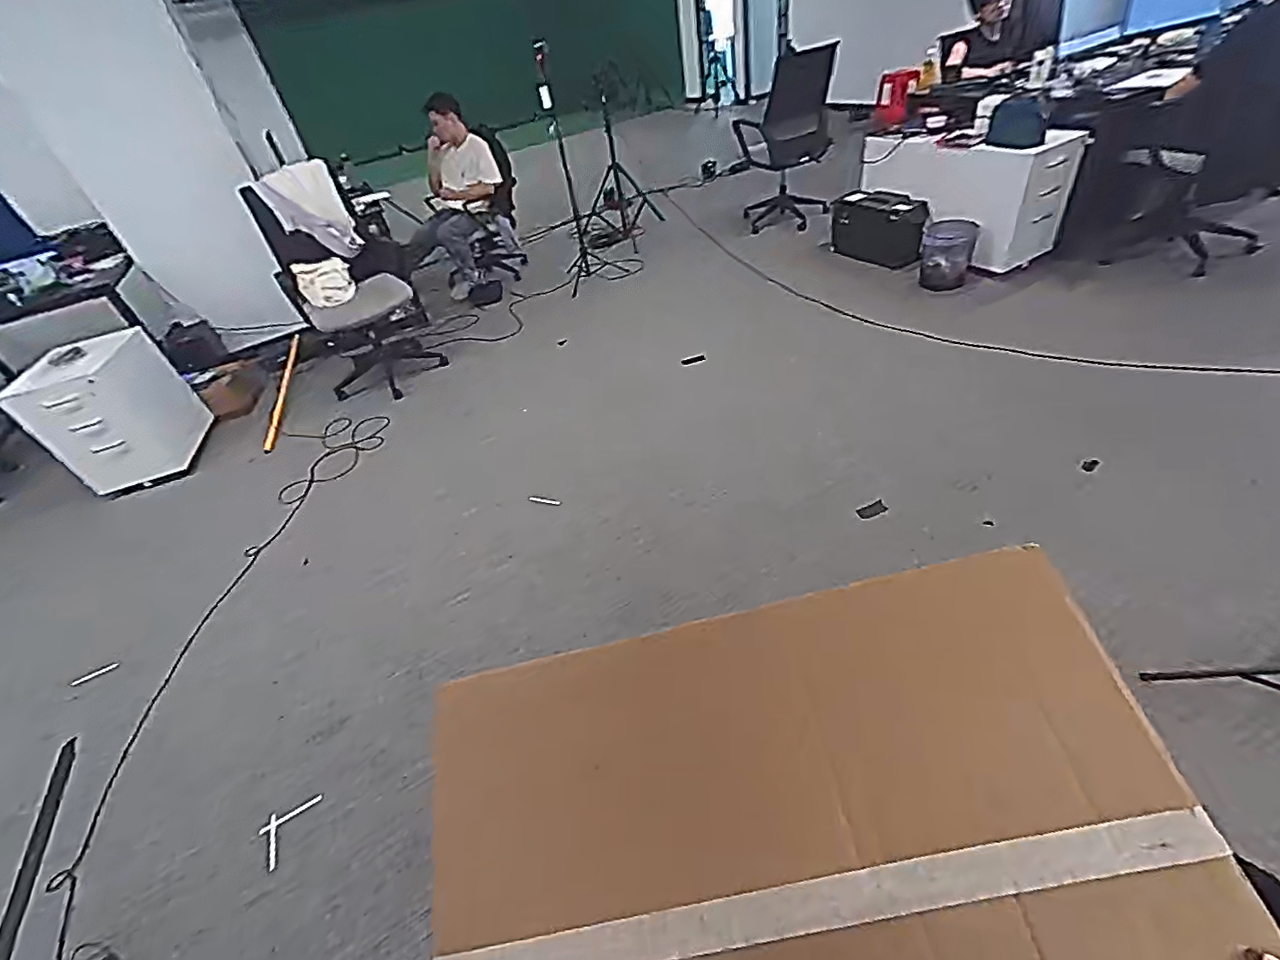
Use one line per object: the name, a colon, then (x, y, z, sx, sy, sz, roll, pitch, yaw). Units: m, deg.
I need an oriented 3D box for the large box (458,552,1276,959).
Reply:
large box: (0.118, 0.297, 0.417, 0.408, 0.320, 0.320, -15, 60, 5)
